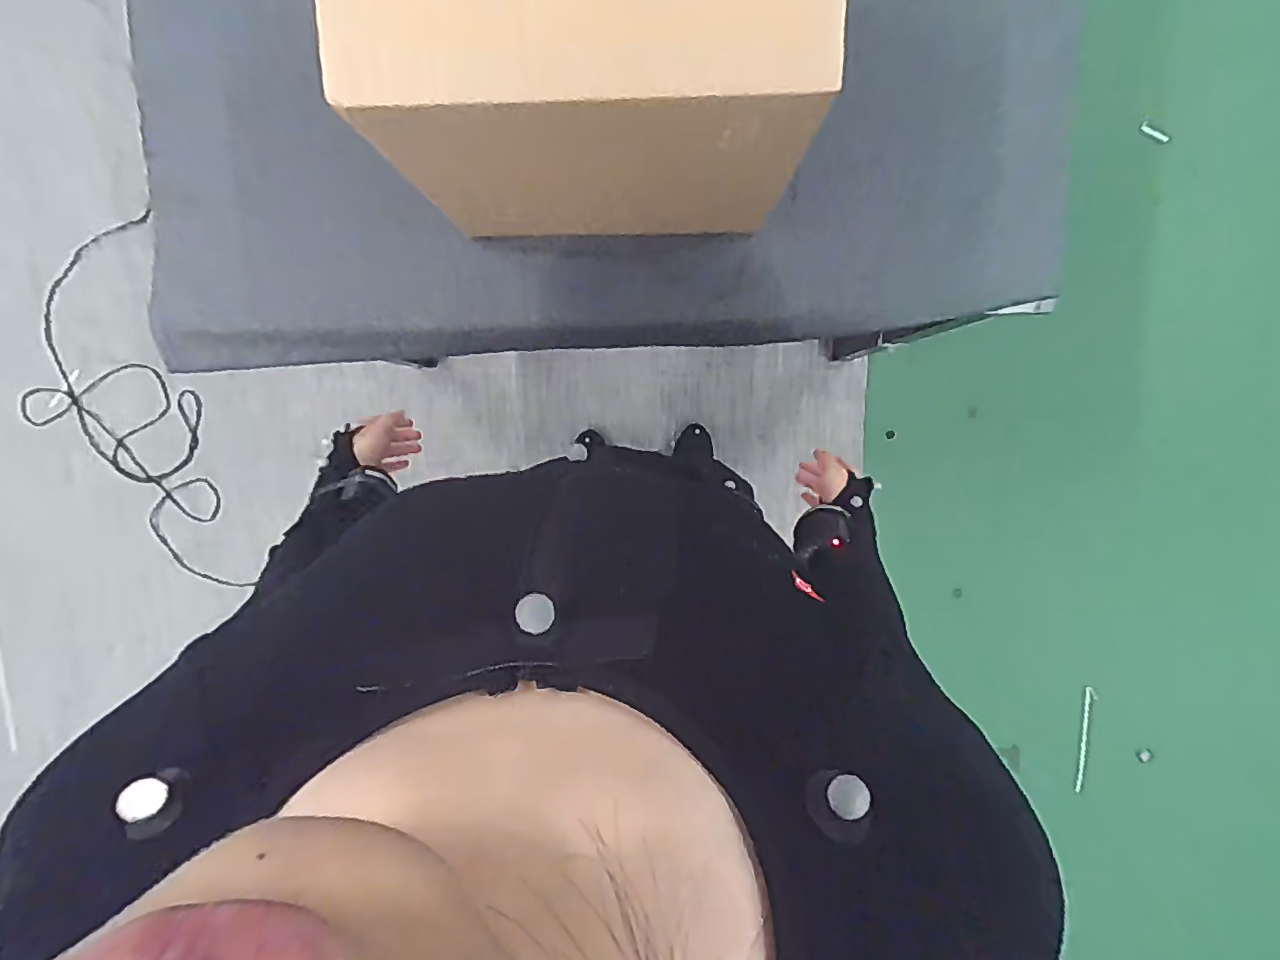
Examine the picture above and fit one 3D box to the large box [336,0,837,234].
[{"bbox_3d":[-0.044,-0.473,0.566,0.408,0.320,0.320,-1,97,1],"label":"large box"}]
